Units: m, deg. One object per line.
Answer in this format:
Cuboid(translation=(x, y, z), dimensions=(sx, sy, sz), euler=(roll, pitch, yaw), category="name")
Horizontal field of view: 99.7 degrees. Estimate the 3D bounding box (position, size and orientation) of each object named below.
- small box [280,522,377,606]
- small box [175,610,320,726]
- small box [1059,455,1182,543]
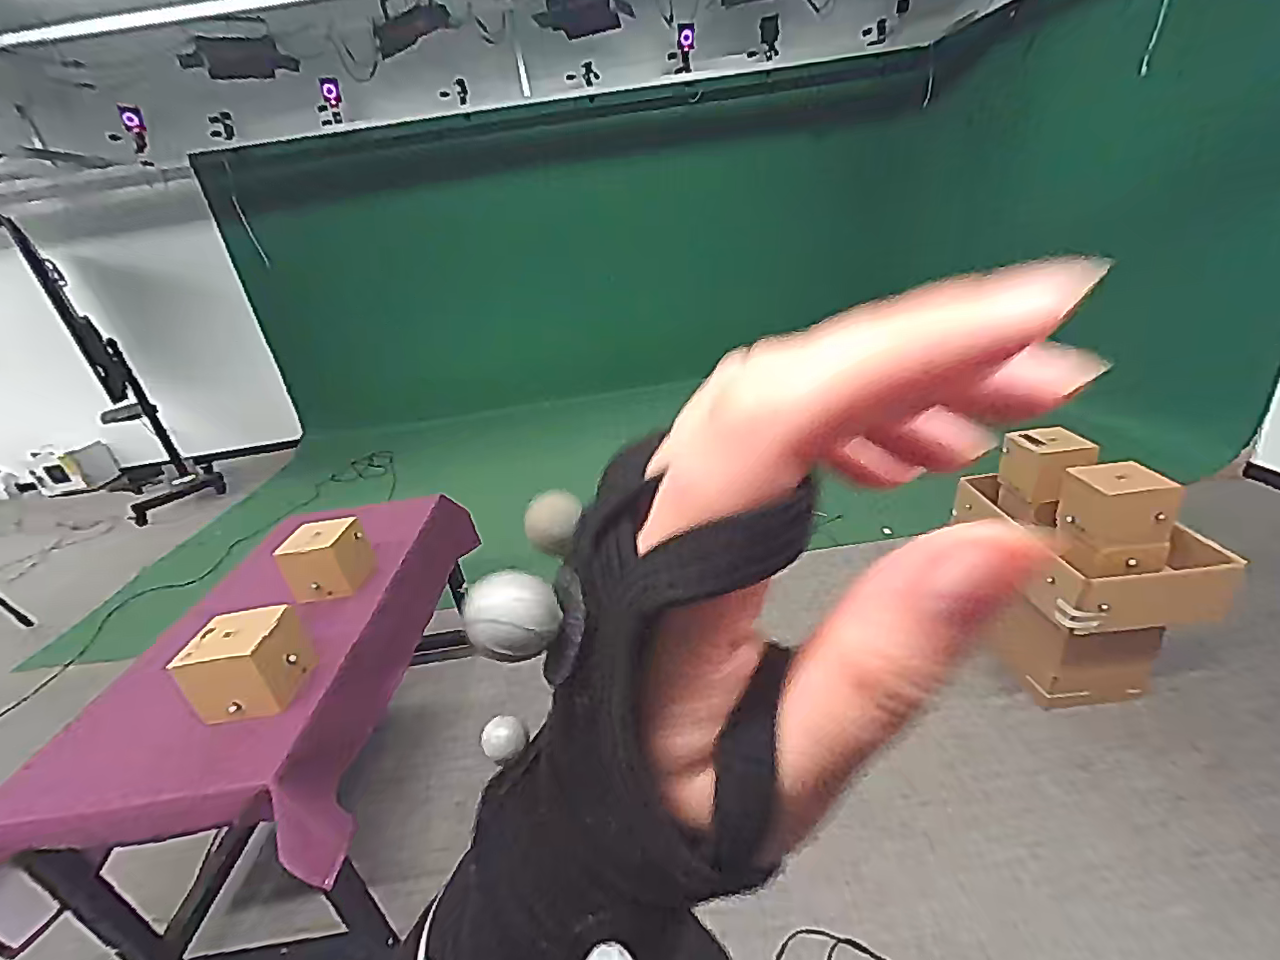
Cuboid(translation=(-0.906, 0.246, 1.594), dimensions=(0.168, 0.176, 0.179), euler=(-10, 25, 2), category="small box")
Cuboid(translation=(-0.862, 0.421, 1.212), dimensions=(0.179, 0.176, 0.168), euler=(-9, 25, 0), category="small box")
Cuboid(translation=(1.269, 0.050, 1.444), dimensions=(0.179, 0.176, 0.168), euler=(-8, 25, 6), category="small box")
